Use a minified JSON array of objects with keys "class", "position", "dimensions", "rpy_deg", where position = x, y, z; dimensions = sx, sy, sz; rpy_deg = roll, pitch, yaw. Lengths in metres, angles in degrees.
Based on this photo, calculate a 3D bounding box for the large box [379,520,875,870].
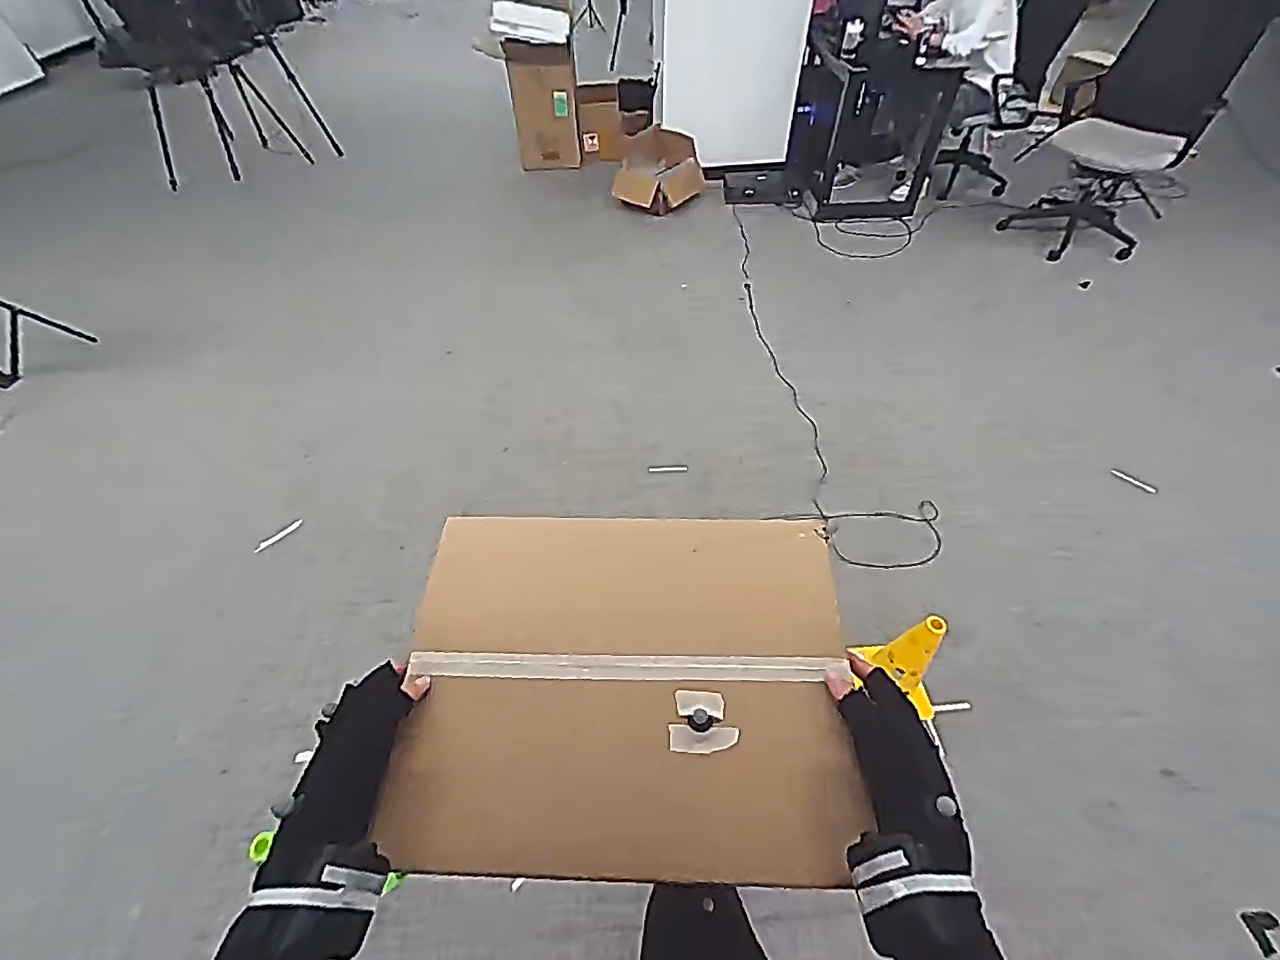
[{"class":"large box","position":[-0.008,0.256,0.631],"dimensions":[0.408,0.320,0.320],"rpy_deg":[1,57,2]}]

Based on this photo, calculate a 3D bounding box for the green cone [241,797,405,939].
[{"class":"green cone","position":[-0.655,0.744,1.072],"dimensions":[0.202,0.368,0.200],"rpy_deg":[-34,56,-23]}]
